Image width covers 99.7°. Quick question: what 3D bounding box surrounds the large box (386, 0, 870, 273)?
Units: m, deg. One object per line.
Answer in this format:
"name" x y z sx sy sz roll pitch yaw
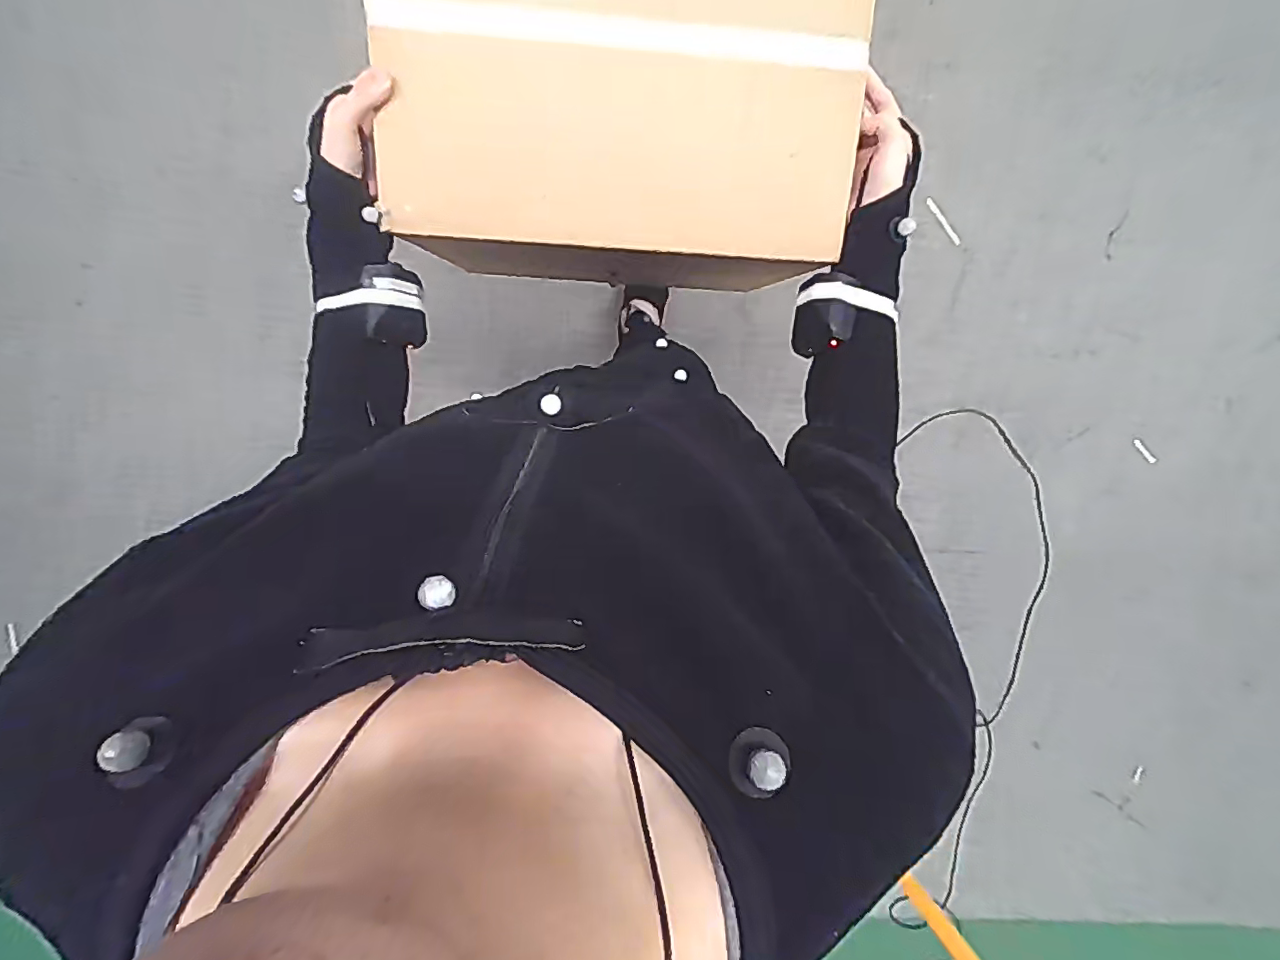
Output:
"large box" -0.014 -0.408 0.591 0.408 0.320 0.320 2 104 -4
